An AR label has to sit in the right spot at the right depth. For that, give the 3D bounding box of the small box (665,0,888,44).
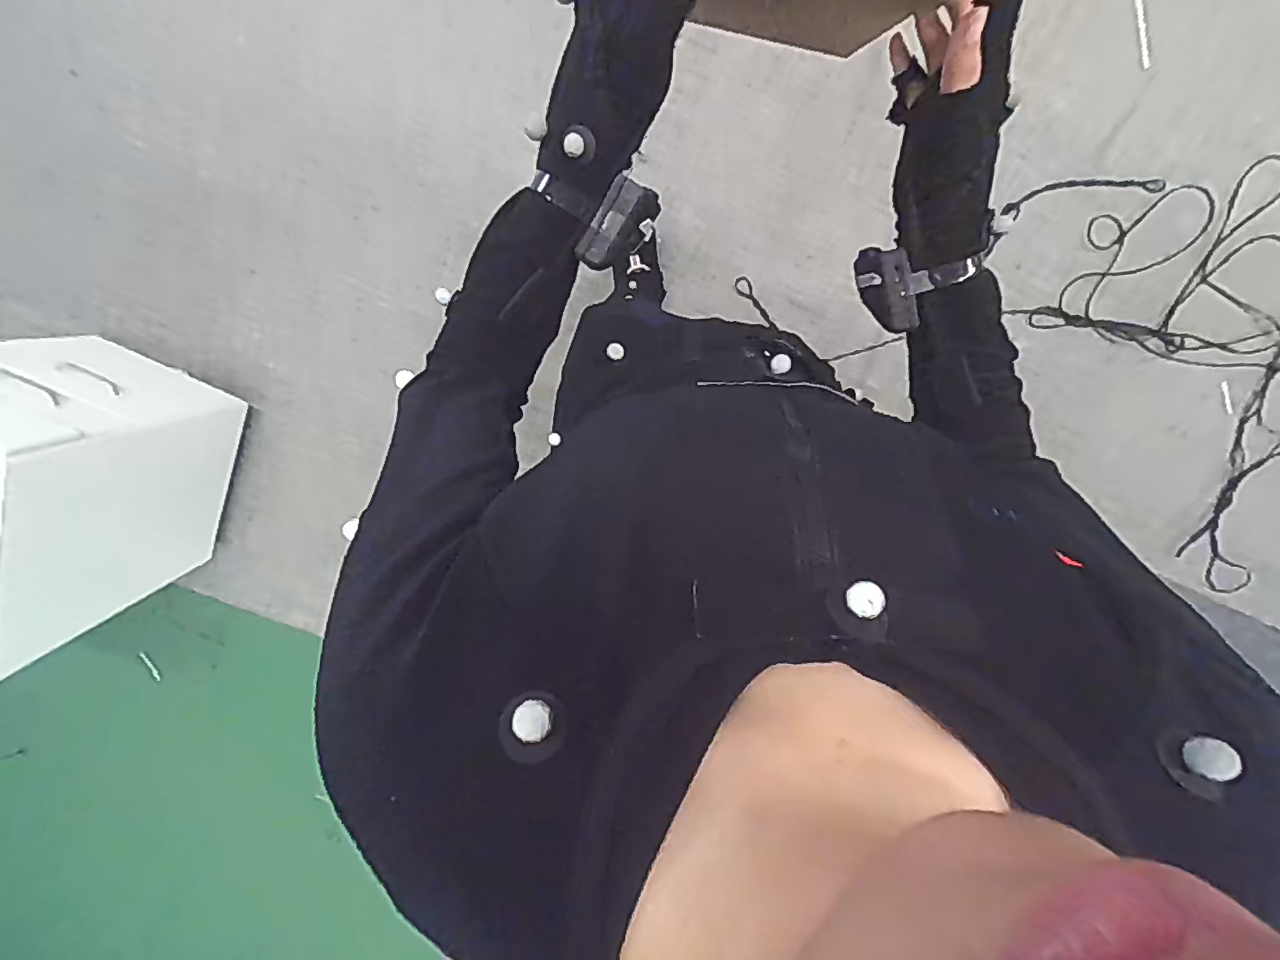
[{"bbox_3d":[0.114,-0.432,0.369,0.179,0.176,0.168,8,116,-6],"label":"small box"}]
